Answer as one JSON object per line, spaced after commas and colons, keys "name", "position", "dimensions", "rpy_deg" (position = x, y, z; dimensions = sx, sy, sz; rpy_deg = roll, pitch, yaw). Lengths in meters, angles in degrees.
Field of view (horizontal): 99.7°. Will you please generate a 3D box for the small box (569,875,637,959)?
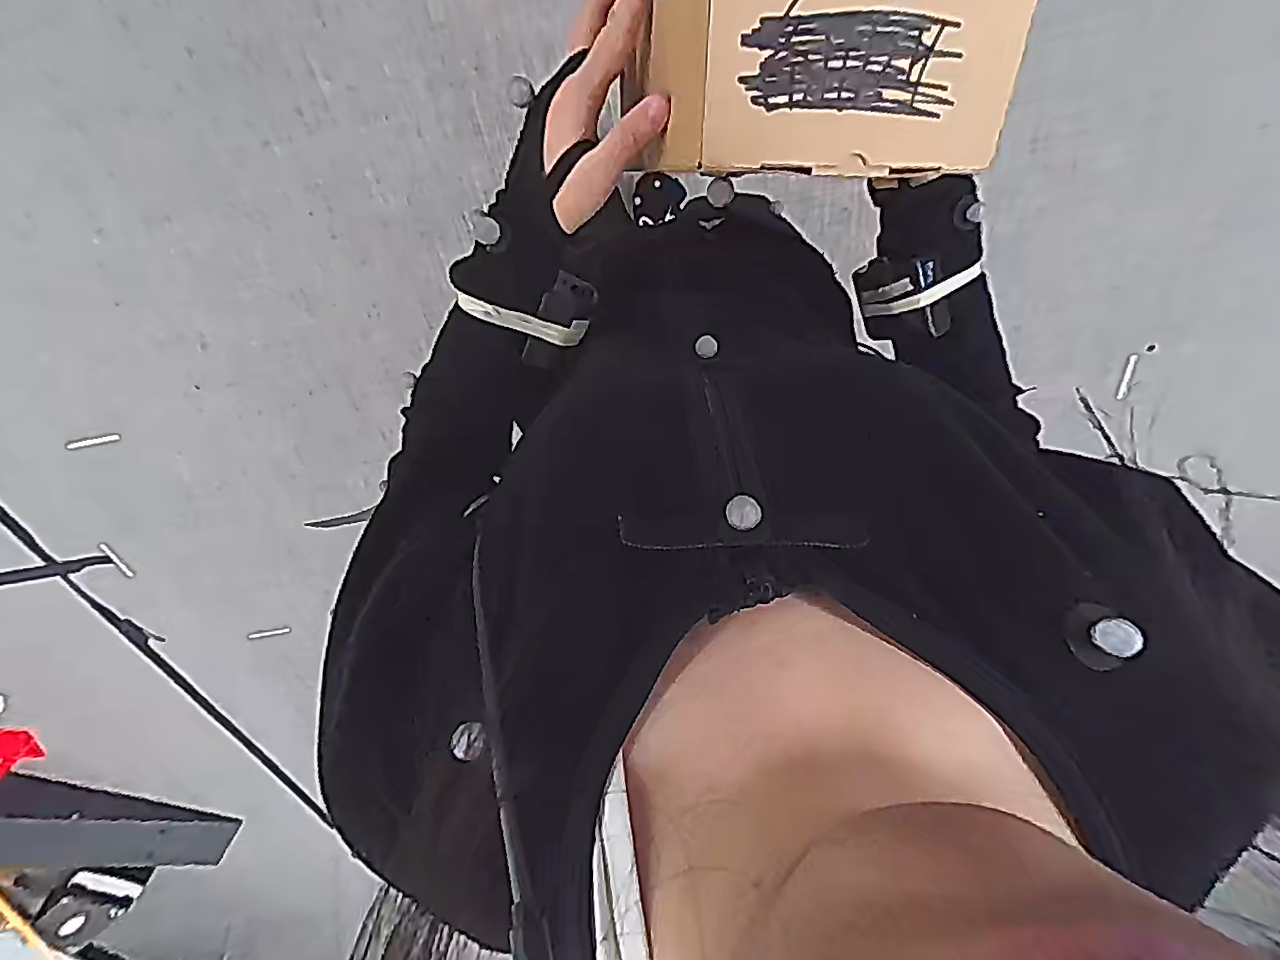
{"name": "small box", "position": [-0.096, 1.203, 1.460], "dimensions": [0.168, 0.176, 0.179], "rpy_deg": [-7, 123, -1]}
